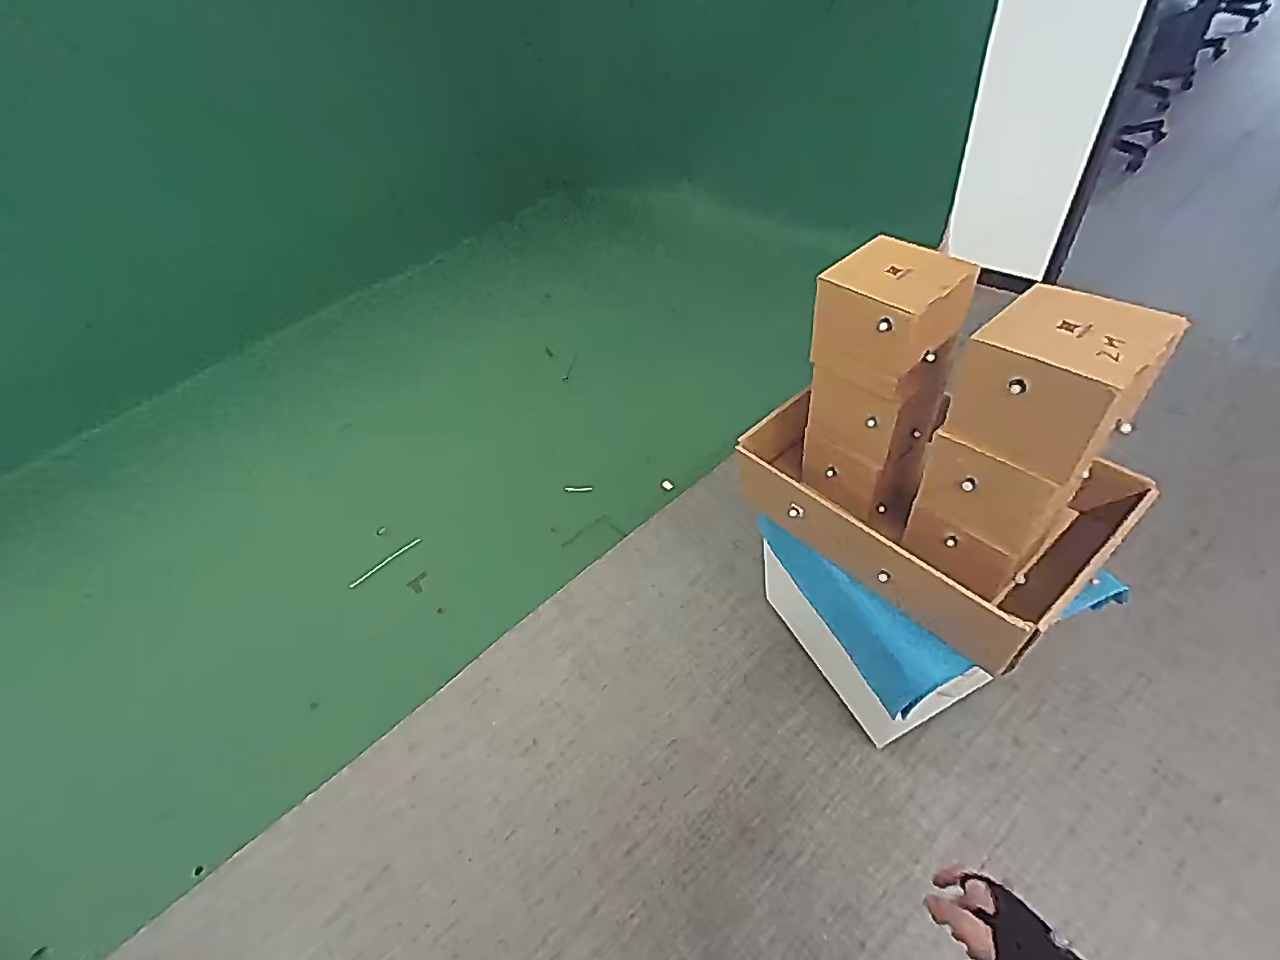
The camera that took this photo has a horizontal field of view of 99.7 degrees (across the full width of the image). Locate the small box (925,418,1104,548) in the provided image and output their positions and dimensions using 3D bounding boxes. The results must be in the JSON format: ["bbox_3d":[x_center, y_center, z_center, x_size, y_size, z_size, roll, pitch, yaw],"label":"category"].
[{"bbox_3d":[0.580,-0.025,0.849,0.168,0.176,0.179,-38,48,-18],"label":"small box"}]

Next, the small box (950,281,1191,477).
[{"bbox_3d":[0.555,-0.135,0.727,0.168,0.176,0.179,-36,49,-17],"label":"small box"}]
